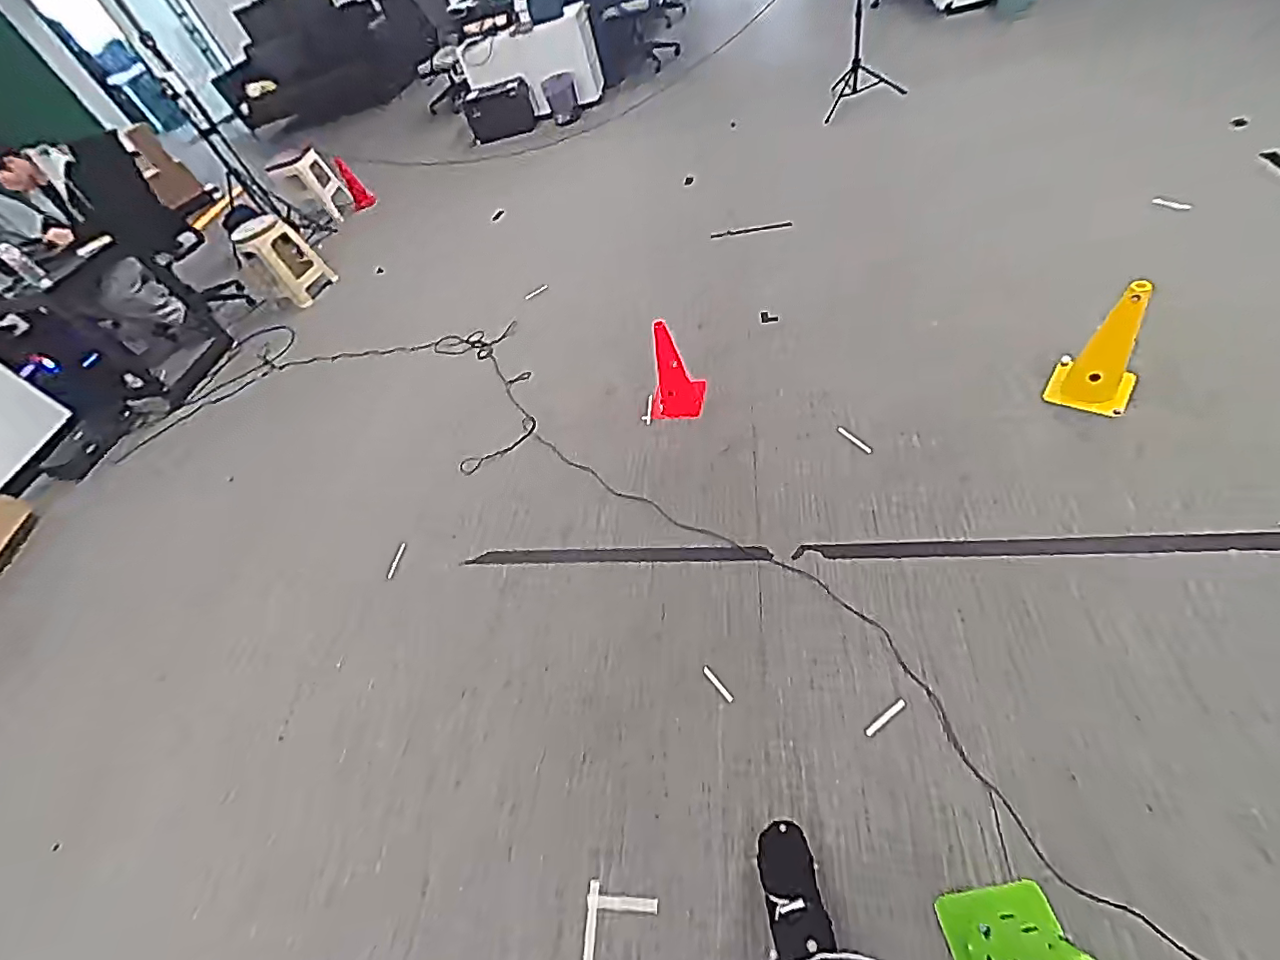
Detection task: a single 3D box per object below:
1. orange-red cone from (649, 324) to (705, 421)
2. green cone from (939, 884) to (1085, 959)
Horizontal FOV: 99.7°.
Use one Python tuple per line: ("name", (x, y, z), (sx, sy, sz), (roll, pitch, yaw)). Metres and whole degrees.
("orange-red cone", (0.103, -0.405, 1.949), (0.199, 0.360, 0.198), (3, 54, 18))
("green cone", (0.629, 0.751, 0.836), (0.202, 0.368, 0.200), (-17, 48, 6))
